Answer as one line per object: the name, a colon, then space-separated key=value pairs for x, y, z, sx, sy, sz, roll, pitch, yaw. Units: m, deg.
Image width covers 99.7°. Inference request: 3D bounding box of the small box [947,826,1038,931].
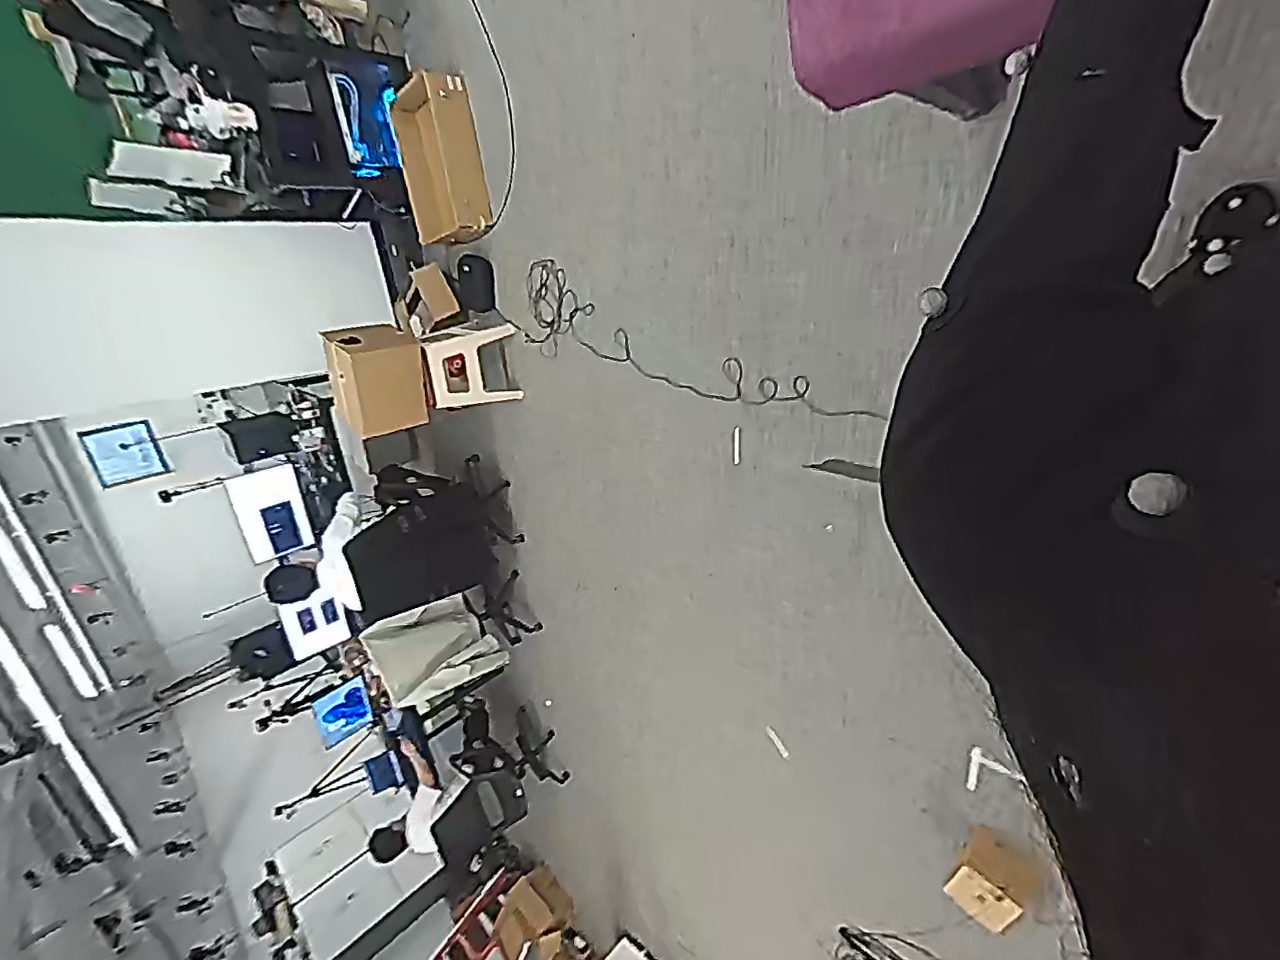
small box: x=1.108 y=1.245 z=1.696 sx=0.168 sy=0.176 sz=0.179 roll=32 pitch=130 yaw=33
